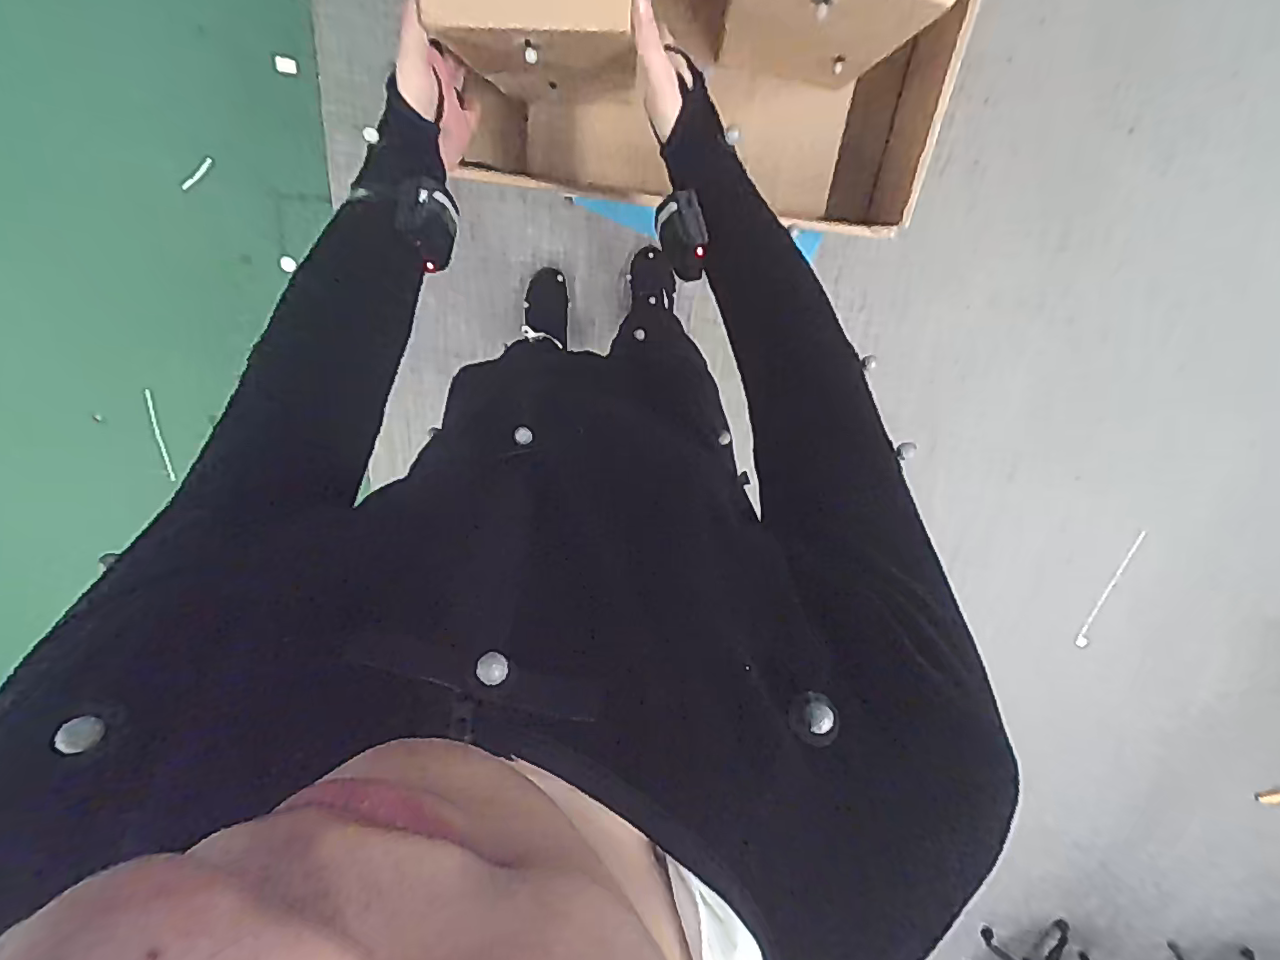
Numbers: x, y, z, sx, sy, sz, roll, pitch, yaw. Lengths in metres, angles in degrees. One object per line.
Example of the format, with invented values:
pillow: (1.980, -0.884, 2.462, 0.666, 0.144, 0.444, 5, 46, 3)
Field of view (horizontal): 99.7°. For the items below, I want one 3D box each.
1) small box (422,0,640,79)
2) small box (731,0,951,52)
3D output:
small box: (-0.087, -0.481, 0.485, 0.179, 0.176, 0.168, 2, 116, -1)
small box: (0.186, -0.501, 0.462, 0.179, 0.176, 0.168, 11, 117, -3)
